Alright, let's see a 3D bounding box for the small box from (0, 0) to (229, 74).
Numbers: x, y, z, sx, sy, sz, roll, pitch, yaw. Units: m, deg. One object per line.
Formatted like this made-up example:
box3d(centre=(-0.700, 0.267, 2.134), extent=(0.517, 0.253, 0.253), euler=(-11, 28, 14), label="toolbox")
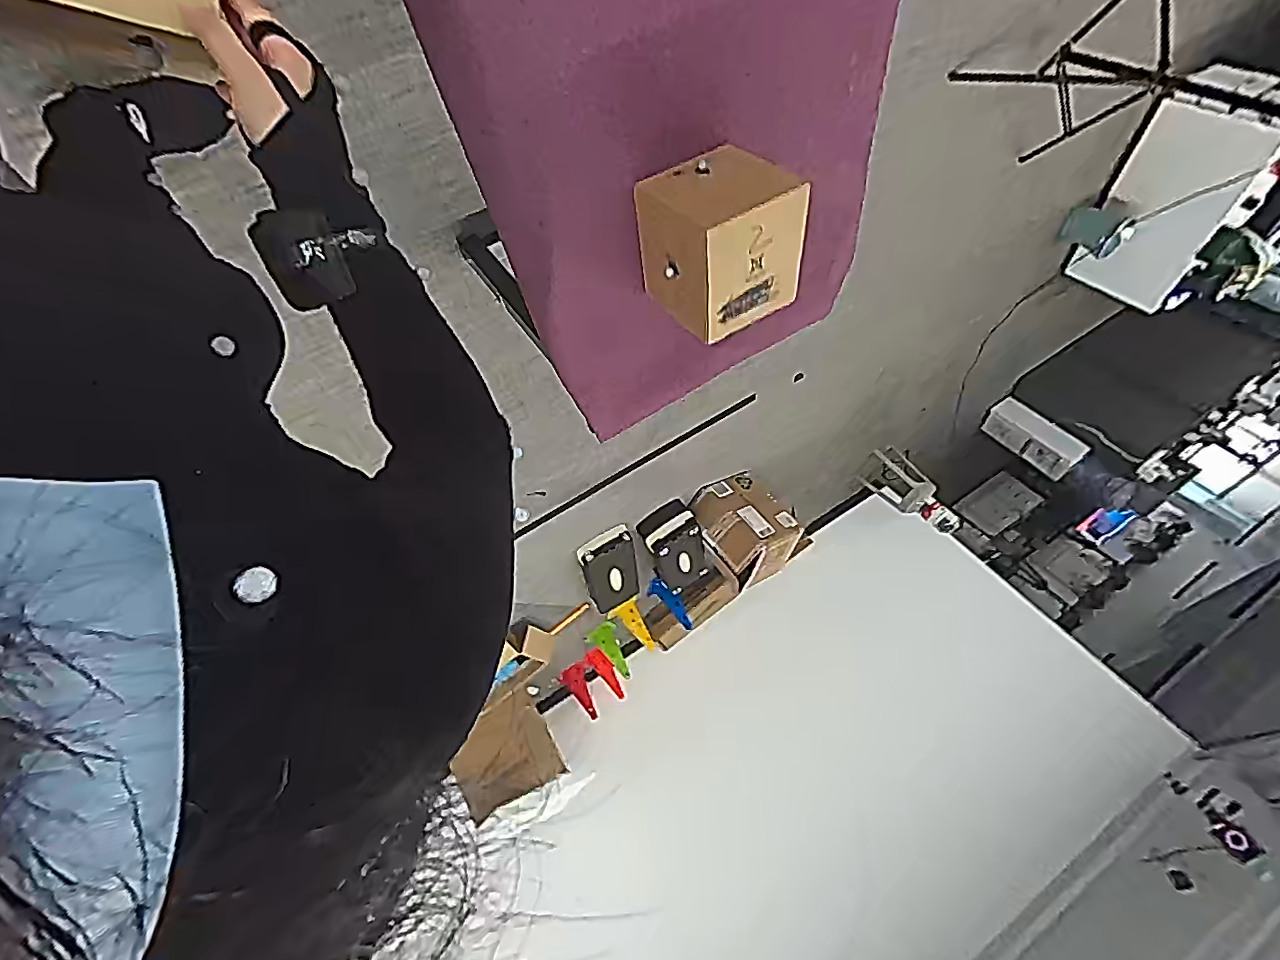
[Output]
box3d(centre=(-0.389, -0.392, 0.352), extent=(0.179, 0.176, 0.168), euler=(-9, 117, -33), label="small box")
